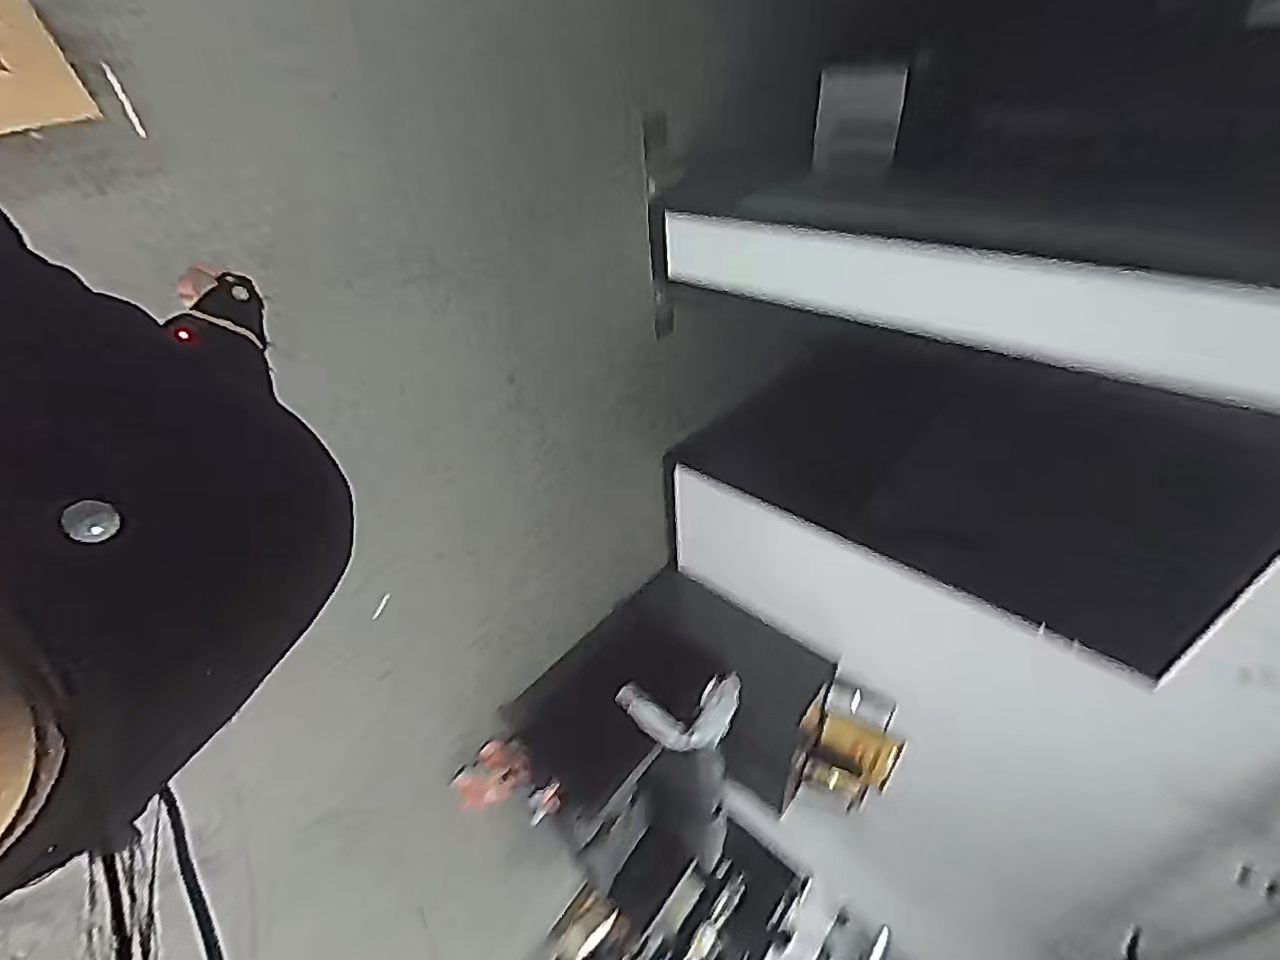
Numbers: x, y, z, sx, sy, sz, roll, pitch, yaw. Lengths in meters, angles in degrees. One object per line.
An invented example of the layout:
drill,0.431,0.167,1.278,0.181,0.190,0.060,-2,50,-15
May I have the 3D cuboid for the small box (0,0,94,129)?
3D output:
small box,-0.996,-0.644,0.817,0.168,0.176,0.179,-40,139,-31
